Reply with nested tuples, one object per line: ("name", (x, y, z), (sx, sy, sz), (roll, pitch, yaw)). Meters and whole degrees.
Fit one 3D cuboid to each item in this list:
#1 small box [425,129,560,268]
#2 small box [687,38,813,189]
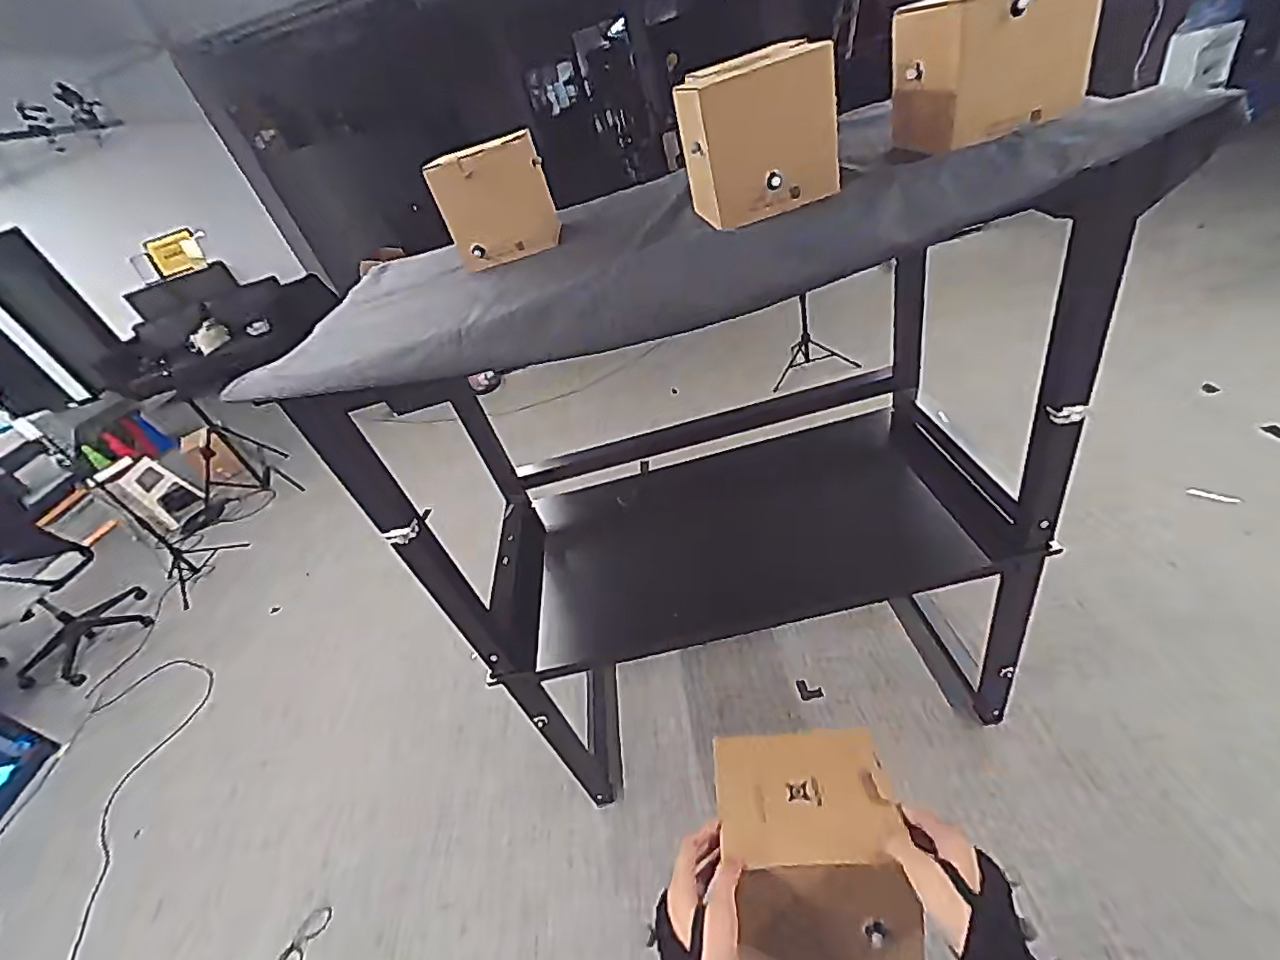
("small box", (-0.246, -0.492, 0.954), (0.168, 0.176, 0.179), (-15, 36, 5))
("small box", (0.183, -0.612, 0.915), (0.168, 0.176, 0.179), (-15, 36, 7))
